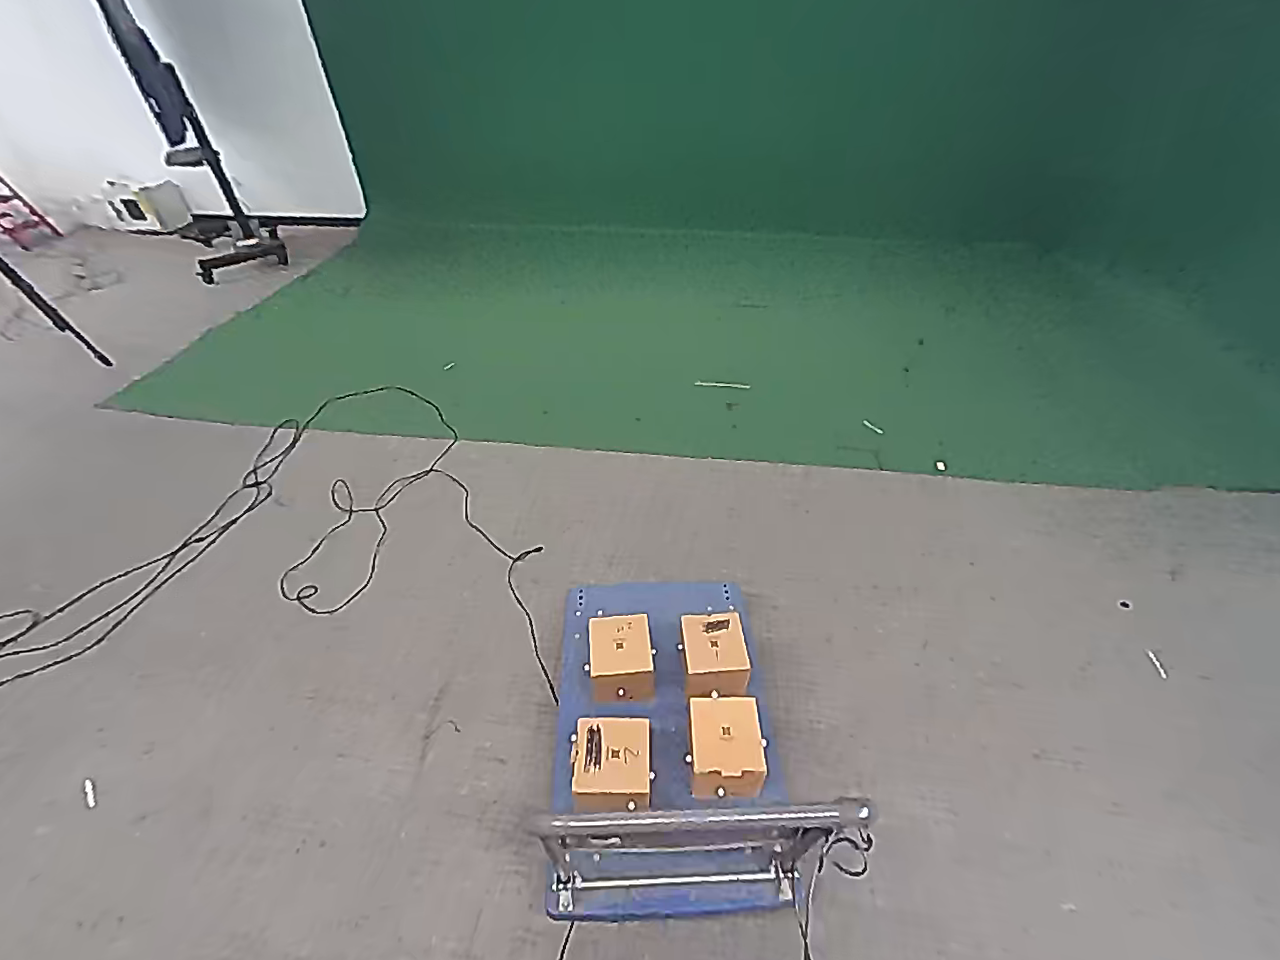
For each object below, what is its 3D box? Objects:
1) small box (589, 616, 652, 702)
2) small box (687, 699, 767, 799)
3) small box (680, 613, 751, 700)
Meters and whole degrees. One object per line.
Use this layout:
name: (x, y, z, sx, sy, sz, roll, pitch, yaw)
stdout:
small box: (-0.054, 0.504, 1.508, 0.168, 0.176, 0.179, -3, 43, -4)
small box: (0.206, 0.662, 1.333, 0.168, 0.176, 0.179, -1, 43, 0)
small box: (0.203, 0.496, 1.510, 0.168, 0.176, 0.179, -4, 44, -2)
